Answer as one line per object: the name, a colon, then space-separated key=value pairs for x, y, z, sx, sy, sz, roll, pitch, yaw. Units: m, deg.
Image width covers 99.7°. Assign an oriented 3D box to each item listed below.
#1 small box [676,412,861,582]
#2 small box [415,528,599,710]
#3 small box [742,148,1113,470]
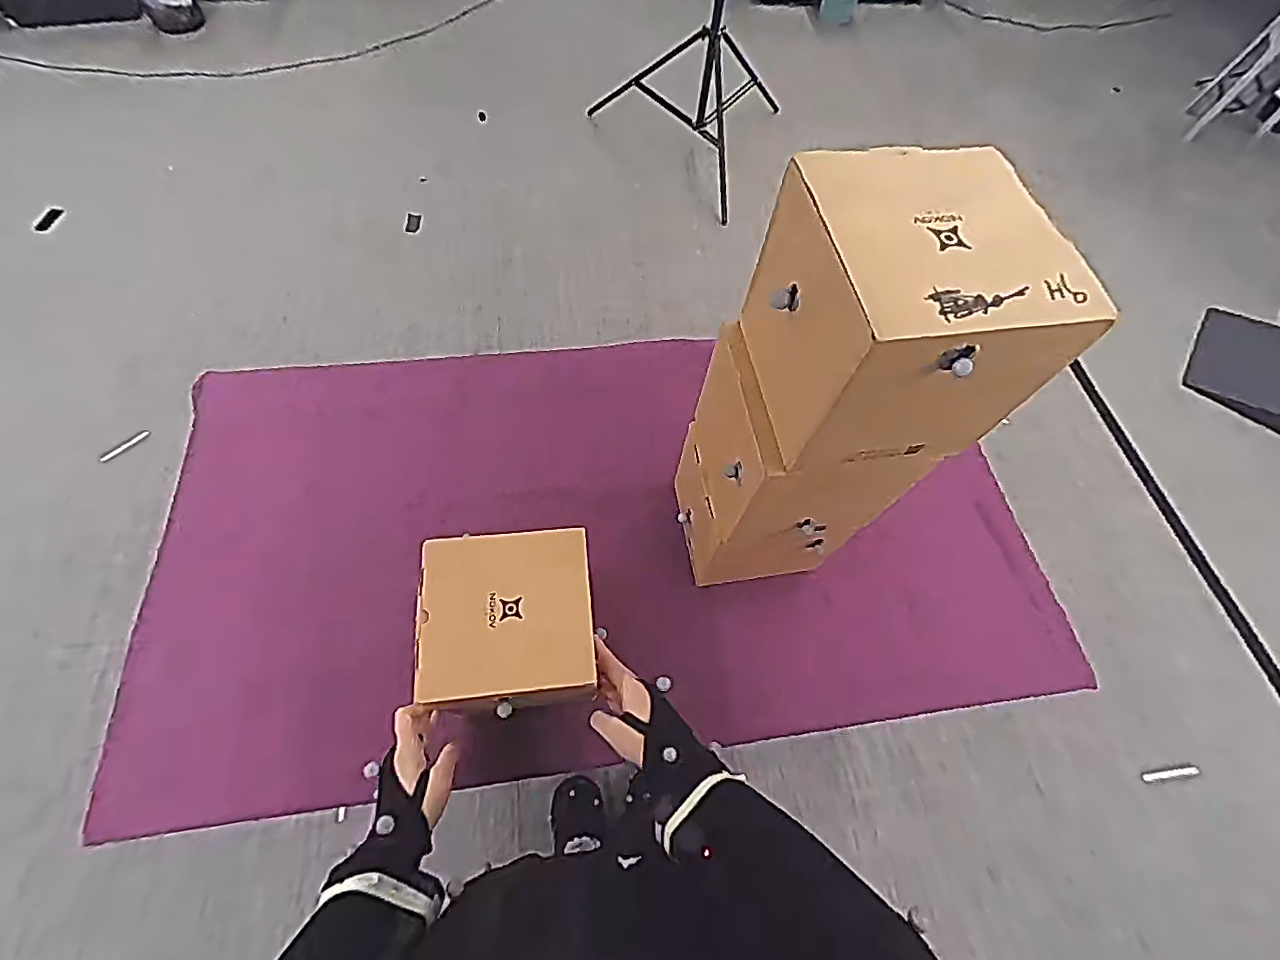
small box: x=0.154 y=0.025 z=0.717 sx=0.179 sy=0.176 sz=0.168 roll=-7 pitch=63 yaw=-7
small box: x=-0.141 y=0.166 z=0.626 sx=0.179 sy=0.176 sz=0.168 roll=-5 pitch=64 yaw=-6
small box: x=0.192 y=-0.129 z=0.429 sx=0.168 sy=0.176 sz=0.179 roll=-7 pitch=63 yaw=-7
